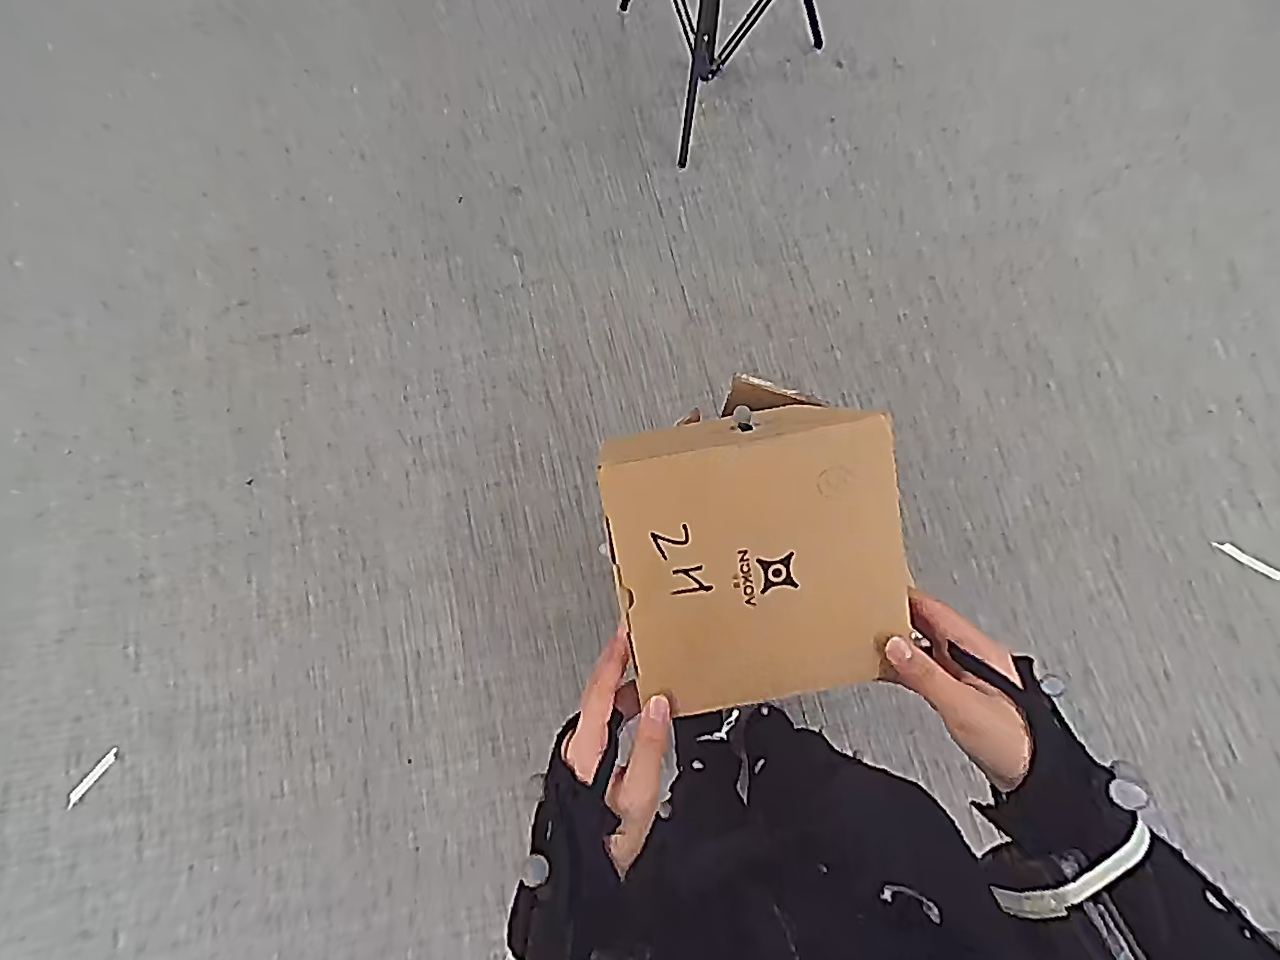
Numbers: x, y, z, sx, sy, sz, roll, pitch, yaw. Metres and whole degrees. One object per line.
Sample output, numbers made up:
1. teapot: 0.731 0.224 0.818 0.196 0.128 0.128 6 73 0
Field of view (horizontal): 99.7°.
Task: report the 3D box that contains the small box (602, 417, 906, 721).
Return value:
1. small box: 0.070 0.047 0.412 0.179 0.176 0.168 -10 99 -1
